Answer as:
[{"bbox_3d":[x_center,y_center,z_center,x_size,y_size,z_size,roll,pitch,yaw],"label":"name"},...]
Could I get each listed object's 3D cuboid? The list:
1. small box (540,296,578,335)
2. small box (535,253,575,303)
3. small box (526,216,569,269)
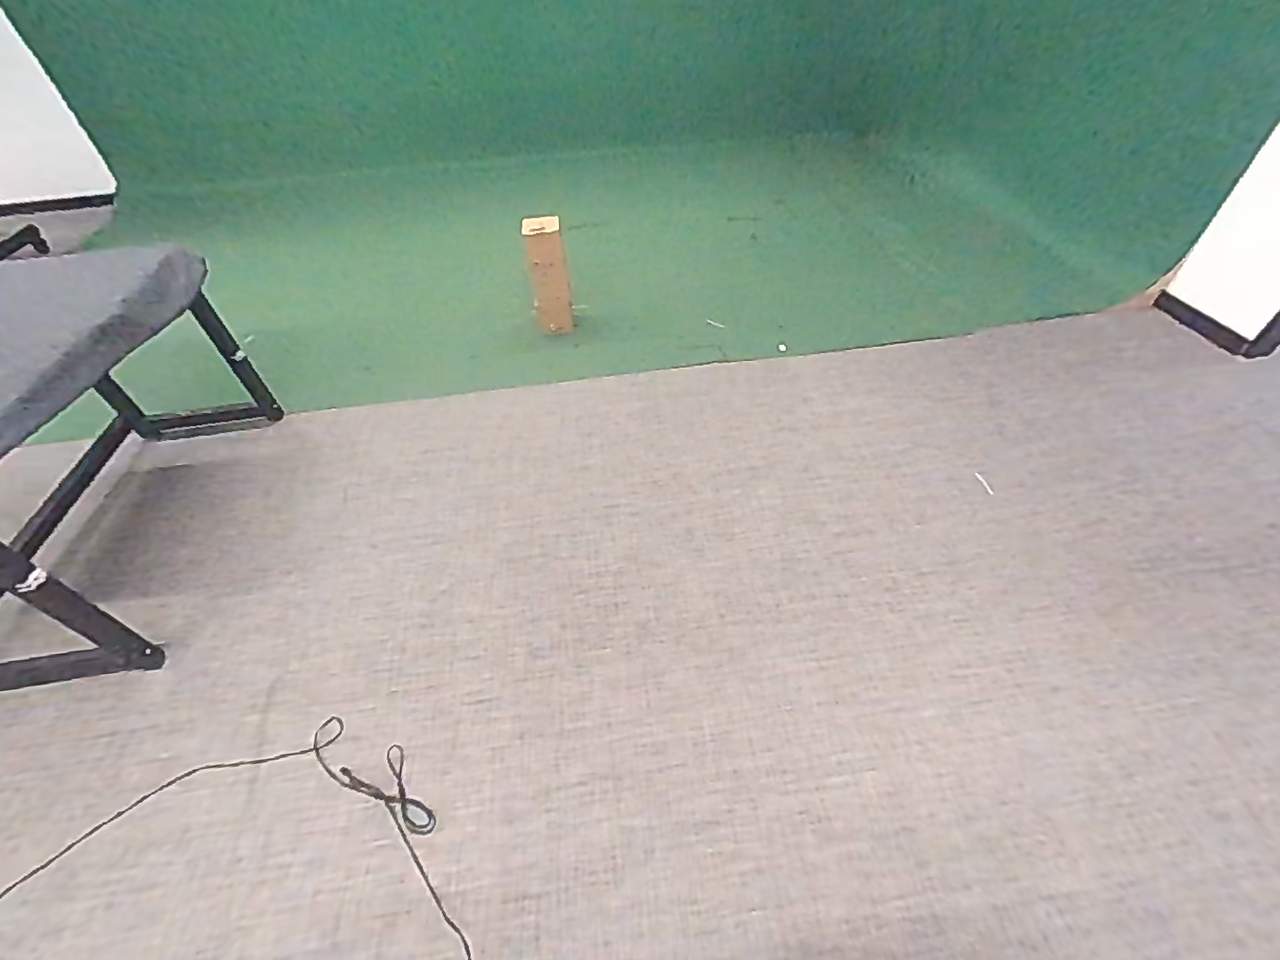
[{"bbox_3d":[-0.403,-0.851,2.706,0.168,0.176,0.179,-7,48,-1],"label":"small box"},{"bbox_3d":[-0.405,-0.968,2.591,0.168,0.176,0.179,-7,46,-2],"label":"small box"},{"bbox_3d":[-0.418,-1.080,2.471,0.168,0.176,0.179,-7,46,-2],"label":"small box"}]
